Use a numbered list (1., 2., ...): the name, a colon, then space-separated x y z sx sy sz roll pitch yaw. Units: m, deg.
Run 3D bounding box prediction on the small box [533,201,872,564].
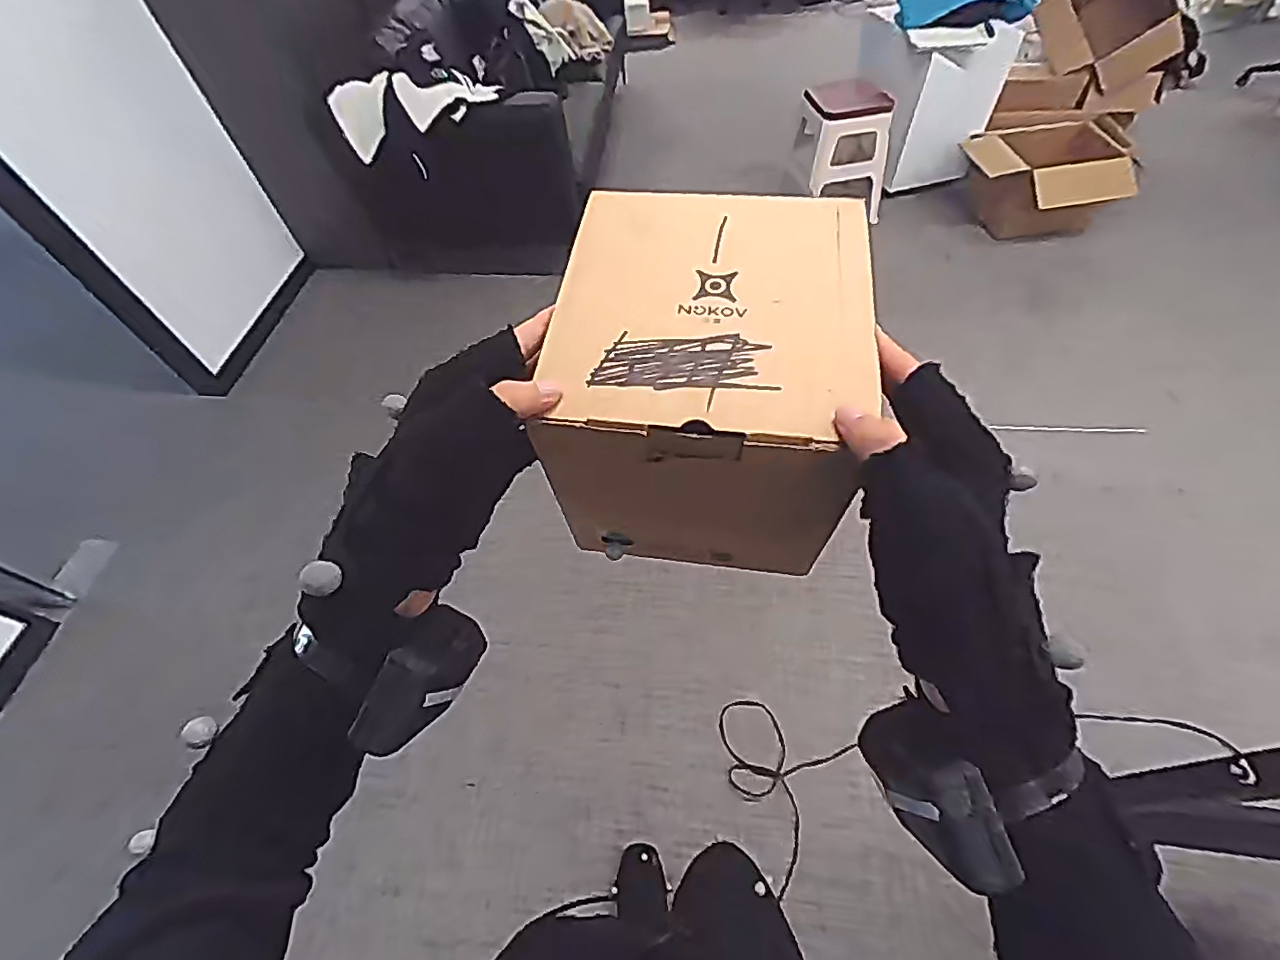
1. small box: 0.045 -0.057 0.364 0.168 0.176 0.179 6 60 8
